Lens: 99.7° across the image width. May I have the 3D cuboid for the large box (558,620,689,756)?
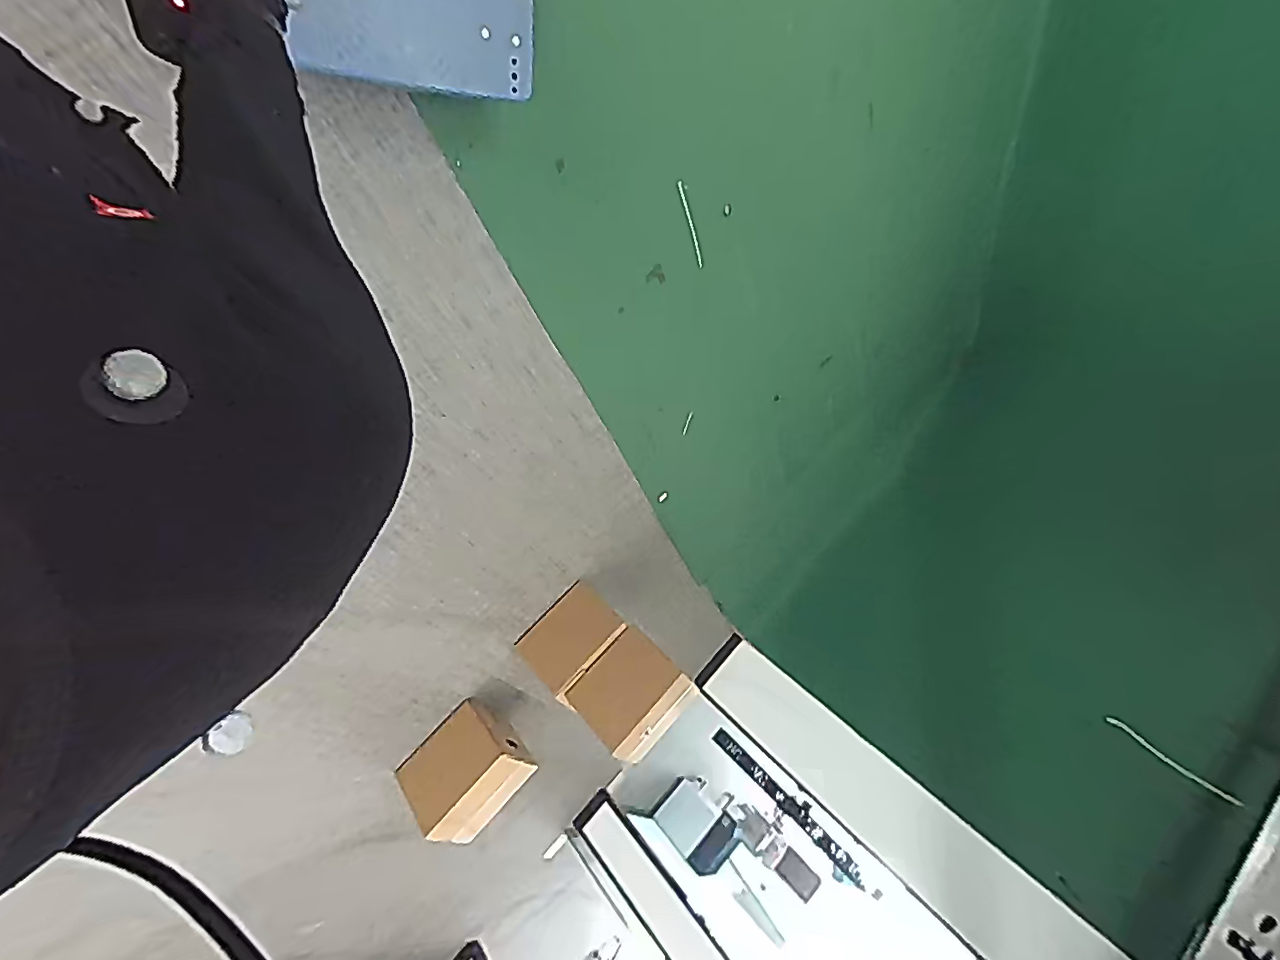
[{"bbox_3d":[-0.061,0.866,2.257,0.408,0.320,0.320,-44,145,-13],"label":"large box"}]
